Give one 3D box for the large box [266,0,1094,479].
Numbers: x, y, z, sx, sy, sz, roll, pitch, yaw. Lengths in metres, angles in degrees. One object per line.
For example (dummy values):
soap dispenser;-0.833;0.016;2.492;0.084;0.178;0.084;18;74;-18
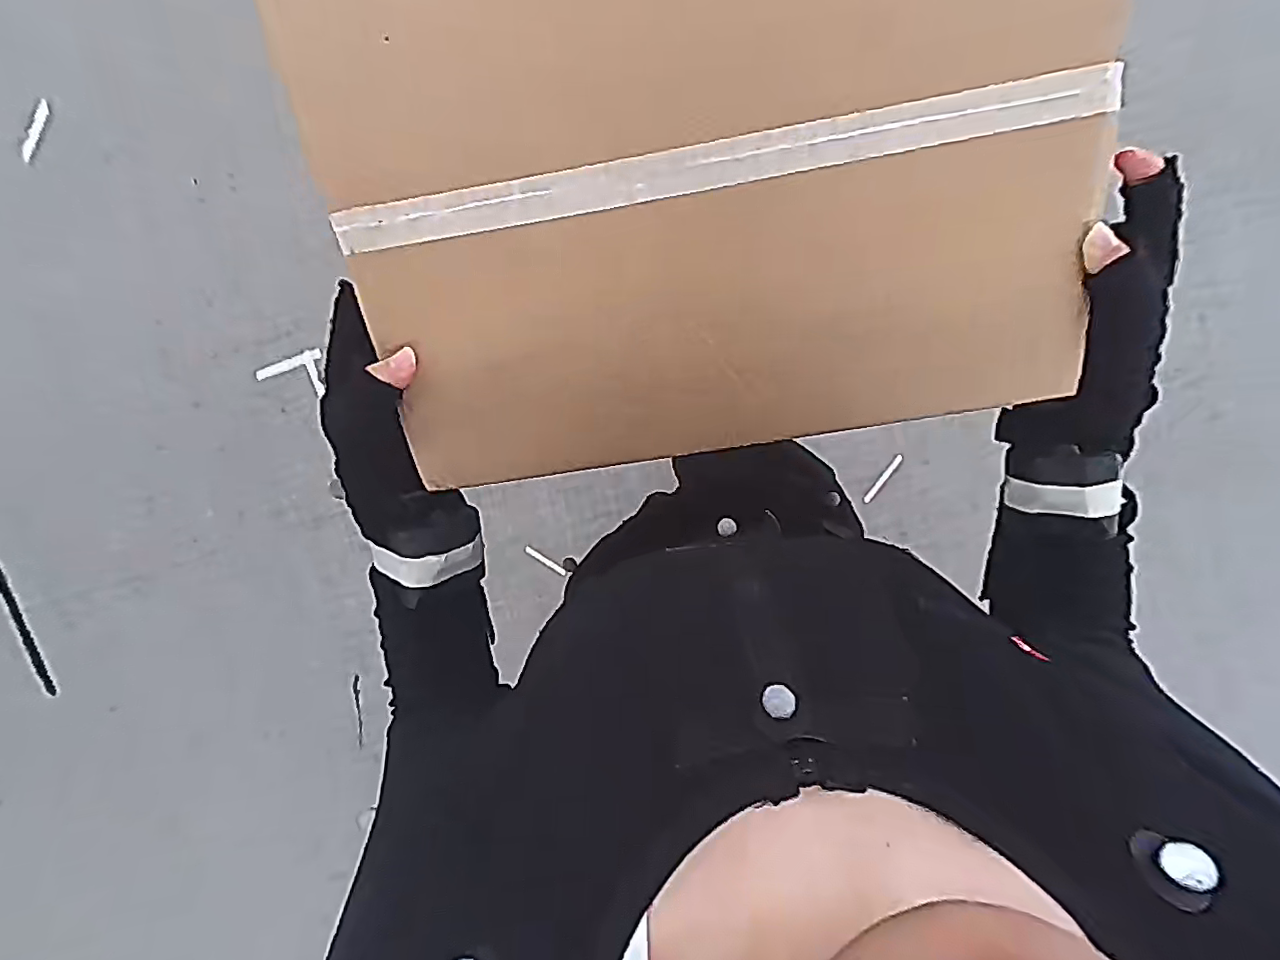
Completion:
large box;0.032;-0.229;0.428;0.408;0.320;0.320;-8;112;4
